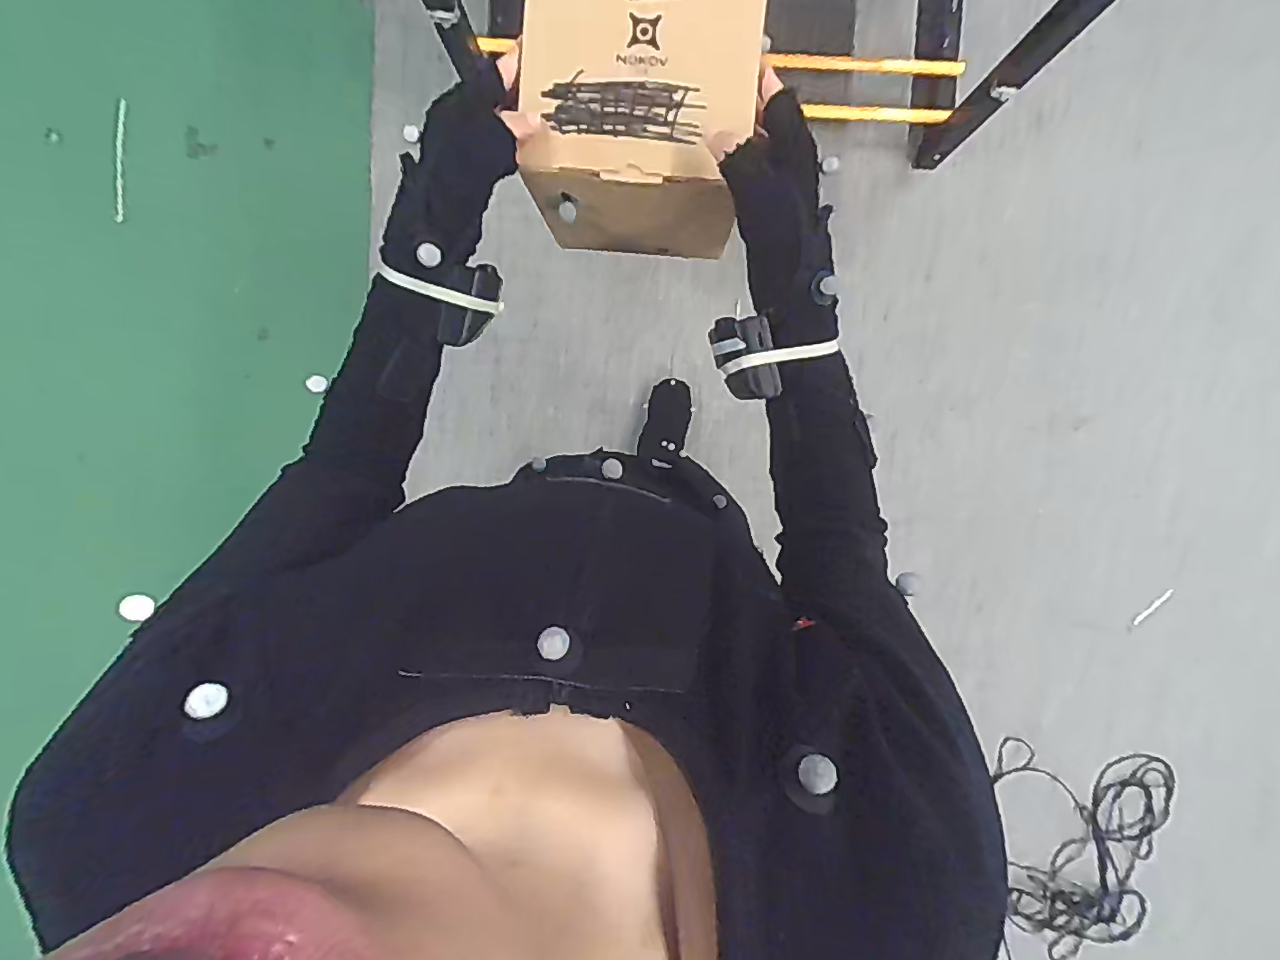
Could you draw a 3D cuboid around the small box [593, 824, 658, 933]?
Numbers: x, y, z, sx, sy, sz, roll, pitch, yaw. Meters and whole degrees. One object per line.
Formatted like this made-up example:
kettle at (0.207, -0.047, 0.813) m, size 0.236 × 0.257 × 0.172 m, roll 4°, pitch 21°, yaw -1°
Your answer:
small box at (-0.039, 1.066, 1.454) m, size 0.168 × 0.176 × 0.179 m, roll 0°, pitch 92°, yaw -2°
